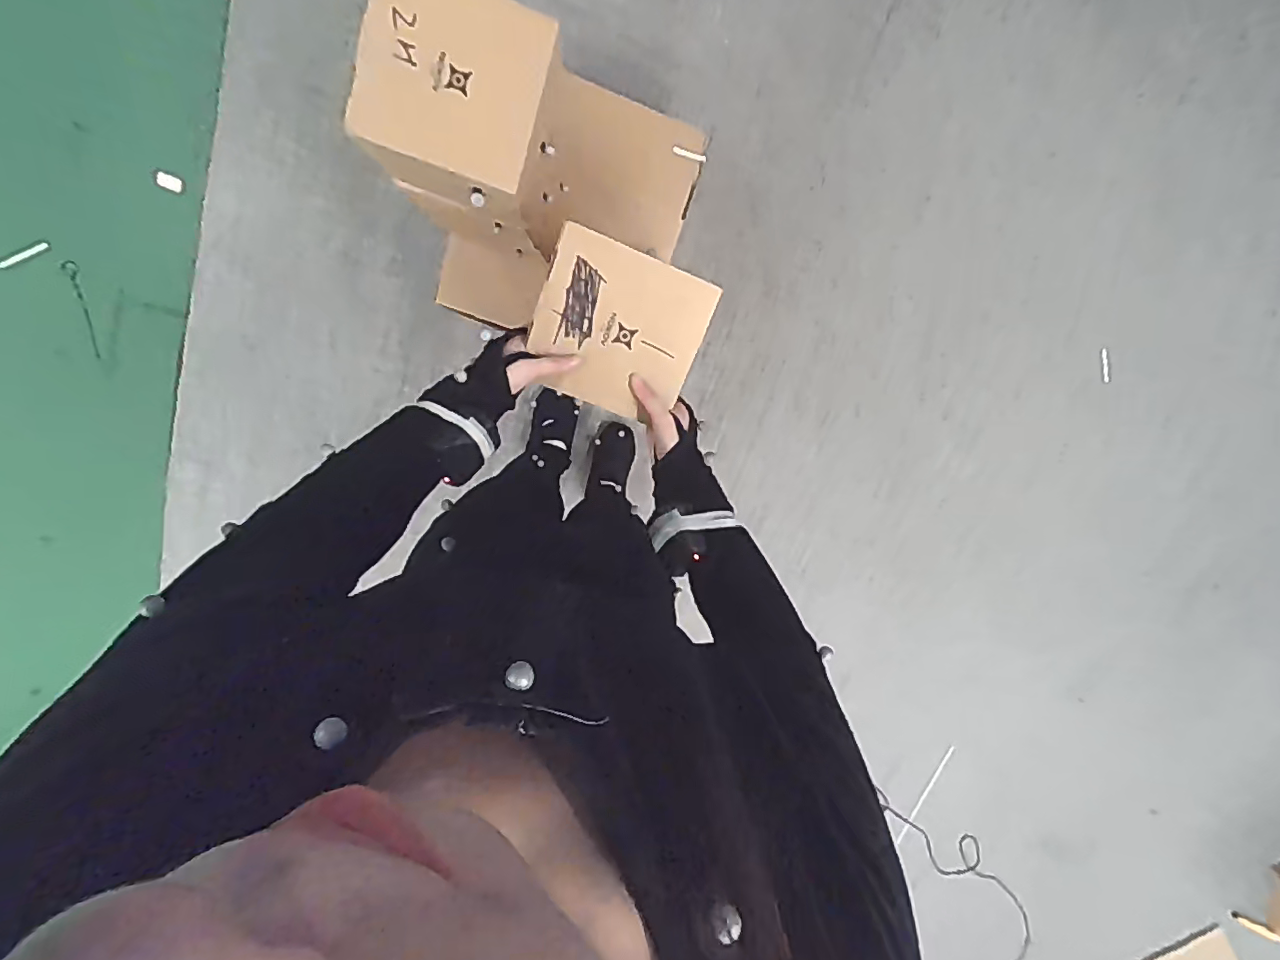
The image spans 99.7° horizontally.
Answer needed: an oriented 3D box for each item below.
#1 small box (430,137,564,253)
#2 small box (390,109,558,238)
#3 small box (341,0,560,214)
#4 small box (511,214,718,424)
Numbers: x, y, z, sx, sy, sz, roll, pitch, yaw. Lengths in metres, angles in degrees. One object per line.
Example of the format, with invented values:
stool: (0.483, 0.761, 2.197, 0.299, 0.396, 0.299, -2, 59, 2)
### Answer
small box: (-0.232, -0.499, 0.918, 0.179, 0.176, 0.168, 15, 103, -9)
small box: (-0.221, -0.460, 0.761, 0.179, 0.176, 0.168, 16, 102, -11)
small box: (-0.194, -0.419, 0.603, 0.179, 0.176, 0.168, 17, 101, -10)
small box: (-0.035, -0.186, 0.641, 0.179, 0.176, 0.168, 20, 107, -12)
